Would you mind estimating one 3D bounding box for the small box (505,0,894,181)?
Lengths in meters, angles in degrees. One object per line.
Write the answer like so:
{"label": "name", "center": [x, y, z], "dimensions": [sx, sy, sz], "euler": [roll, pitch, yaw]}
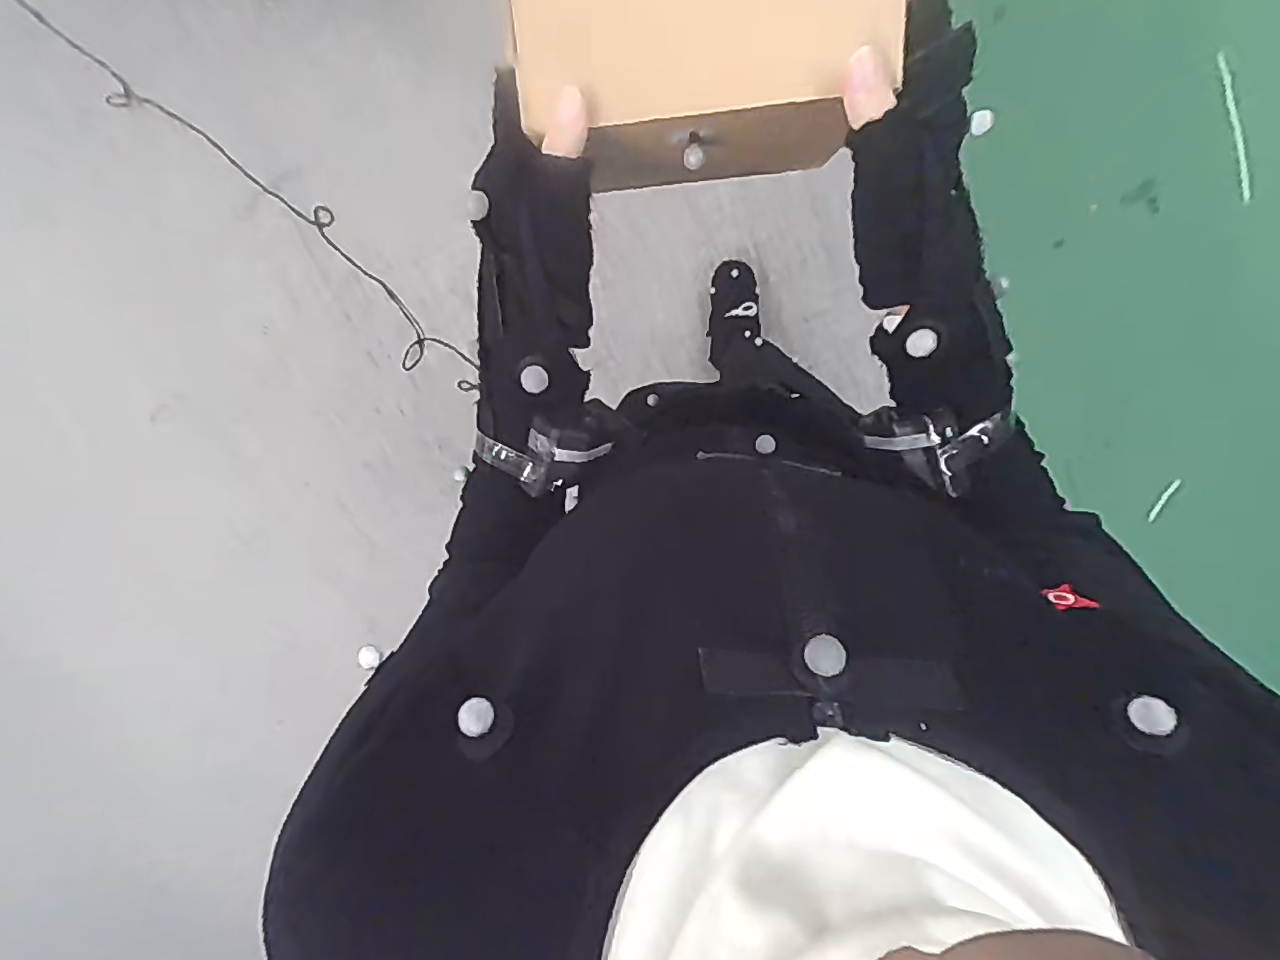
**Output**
{"label": "small box", "center": [0.028, -0.283, 0.305], "dimensions": [0.179, 0.176, 0.168], "euler": [-4, 108, 7]}
